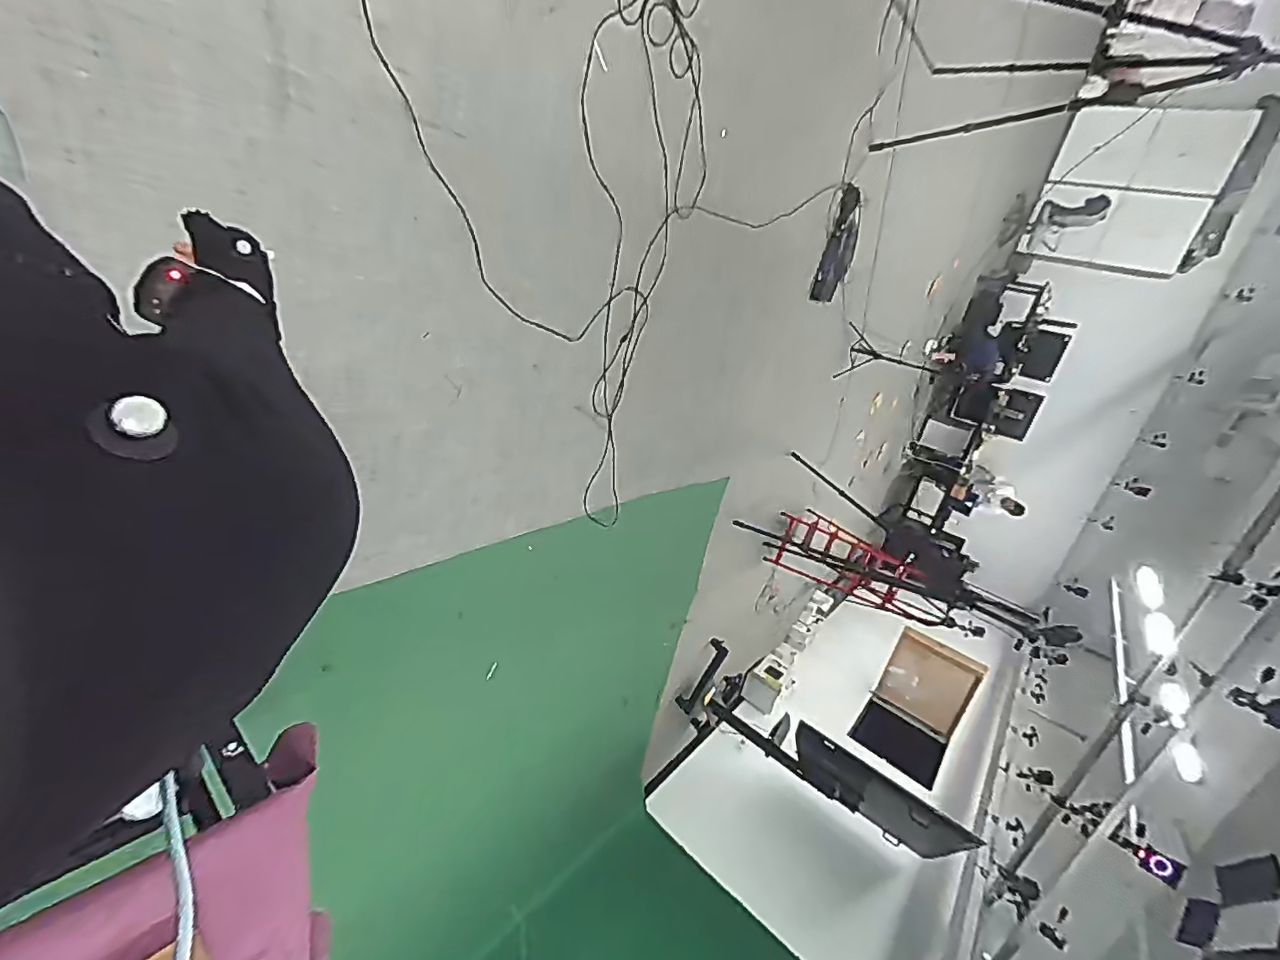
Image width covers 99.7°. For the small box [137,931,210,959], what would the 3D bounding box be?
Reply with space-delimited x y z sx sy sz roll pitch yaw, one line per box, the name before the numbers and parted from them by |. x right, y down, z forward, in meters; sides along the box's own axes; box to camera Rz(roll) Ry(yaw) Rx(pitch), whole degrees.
small box | -0.757 0.868 0.840 0.168 0.176 0.179 -17 126 -48
